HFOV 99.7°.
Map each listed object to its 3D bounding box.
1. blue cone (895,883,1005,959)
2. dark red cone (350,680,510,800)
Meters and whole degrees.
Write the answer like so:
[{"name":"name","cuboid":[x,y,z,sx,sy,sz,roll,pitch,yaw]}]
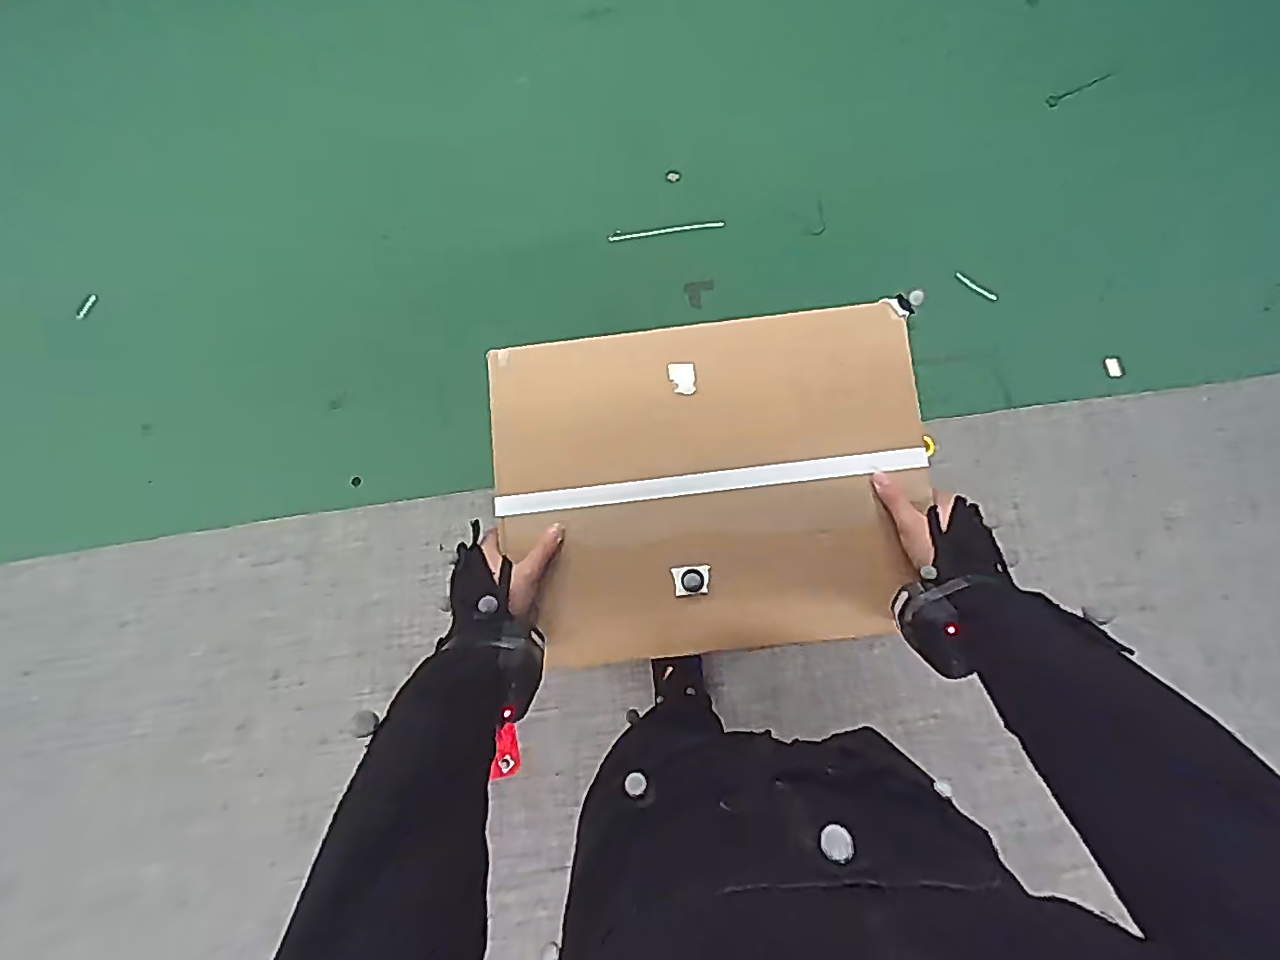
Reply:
[{"name":"blue cone","cuboid":[0.582,0.839,0.863,0.192,0.380,0.193,-8,75,1]},{"name":"dark red cone","cuboid":[-0.390,0.489,0.977,0.202,0.394,0.201,-16,71,-1]}]
